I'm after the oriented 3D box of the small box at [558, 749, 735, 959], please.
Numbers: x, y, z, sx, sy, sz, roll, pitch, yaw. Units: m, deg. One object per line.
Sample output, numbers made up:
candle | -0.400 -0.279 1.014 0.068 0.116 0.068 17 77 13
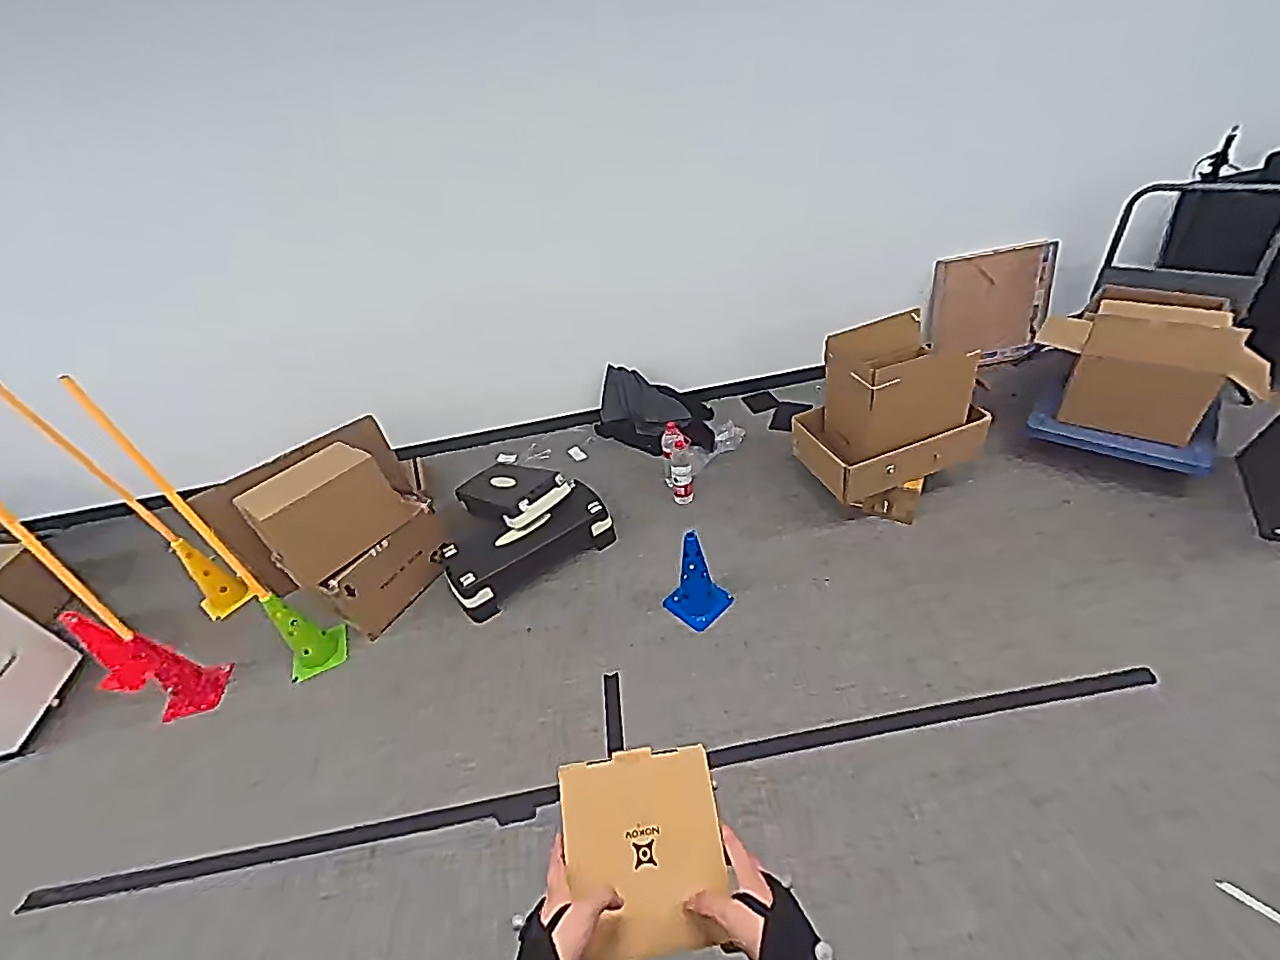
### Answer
small box | -0.003 0.422 0.615 0.168 0.176 0.179 -4 56 -8
